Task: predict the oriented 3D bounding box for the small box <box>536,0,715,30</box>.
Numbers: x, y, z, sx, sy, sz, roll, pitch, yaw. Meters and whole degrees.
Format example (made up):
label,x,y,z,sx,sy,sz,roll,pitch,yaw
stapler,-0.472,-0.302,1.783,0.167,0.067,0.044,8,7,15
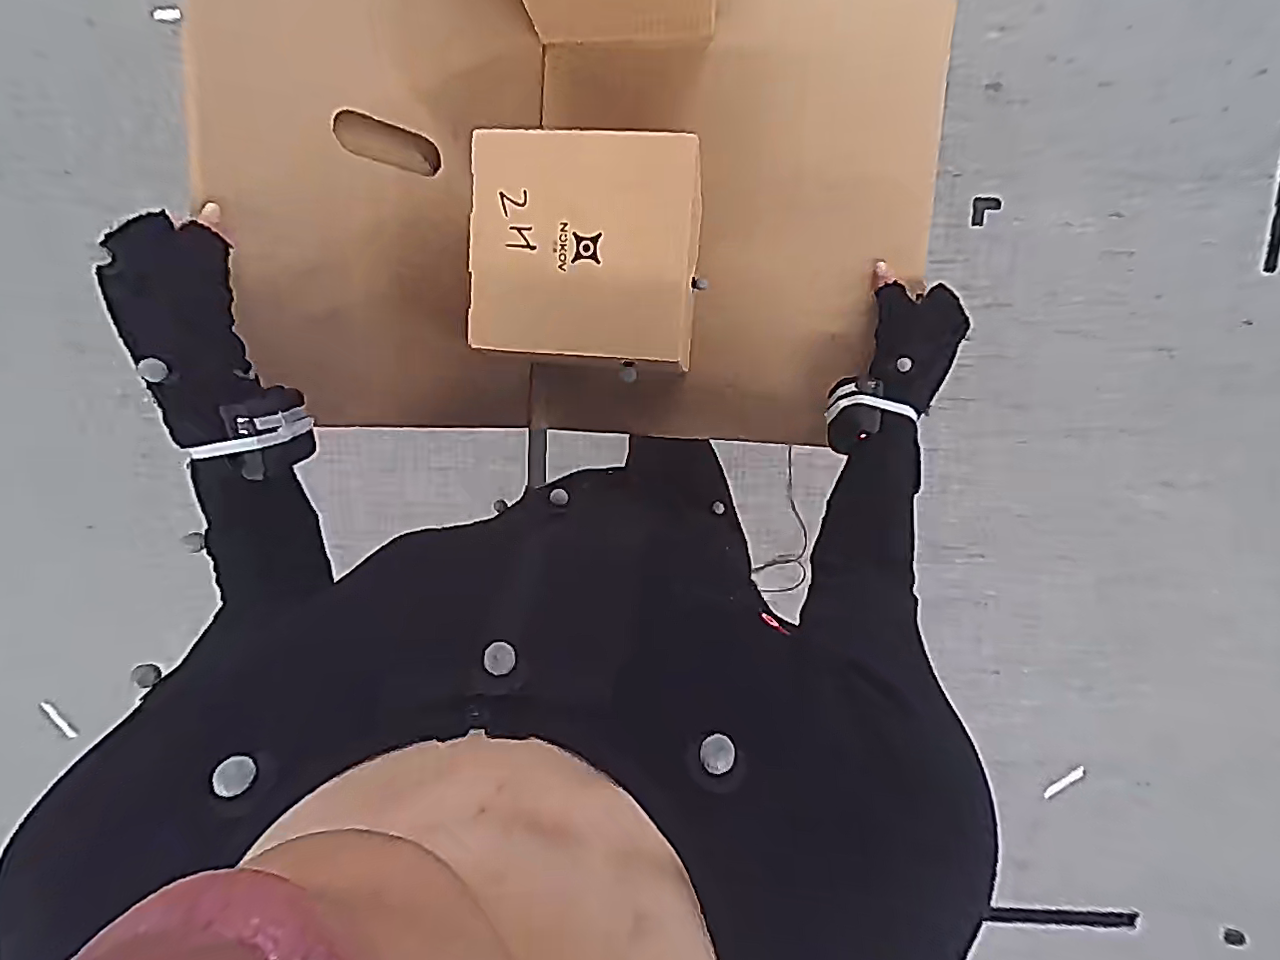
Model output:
label,x,y,z,sx,sy,sz,roll,pitch,yaw
small box,-0.020,-0.524,0.457,0.179,0.176,0.168,3,99,6
